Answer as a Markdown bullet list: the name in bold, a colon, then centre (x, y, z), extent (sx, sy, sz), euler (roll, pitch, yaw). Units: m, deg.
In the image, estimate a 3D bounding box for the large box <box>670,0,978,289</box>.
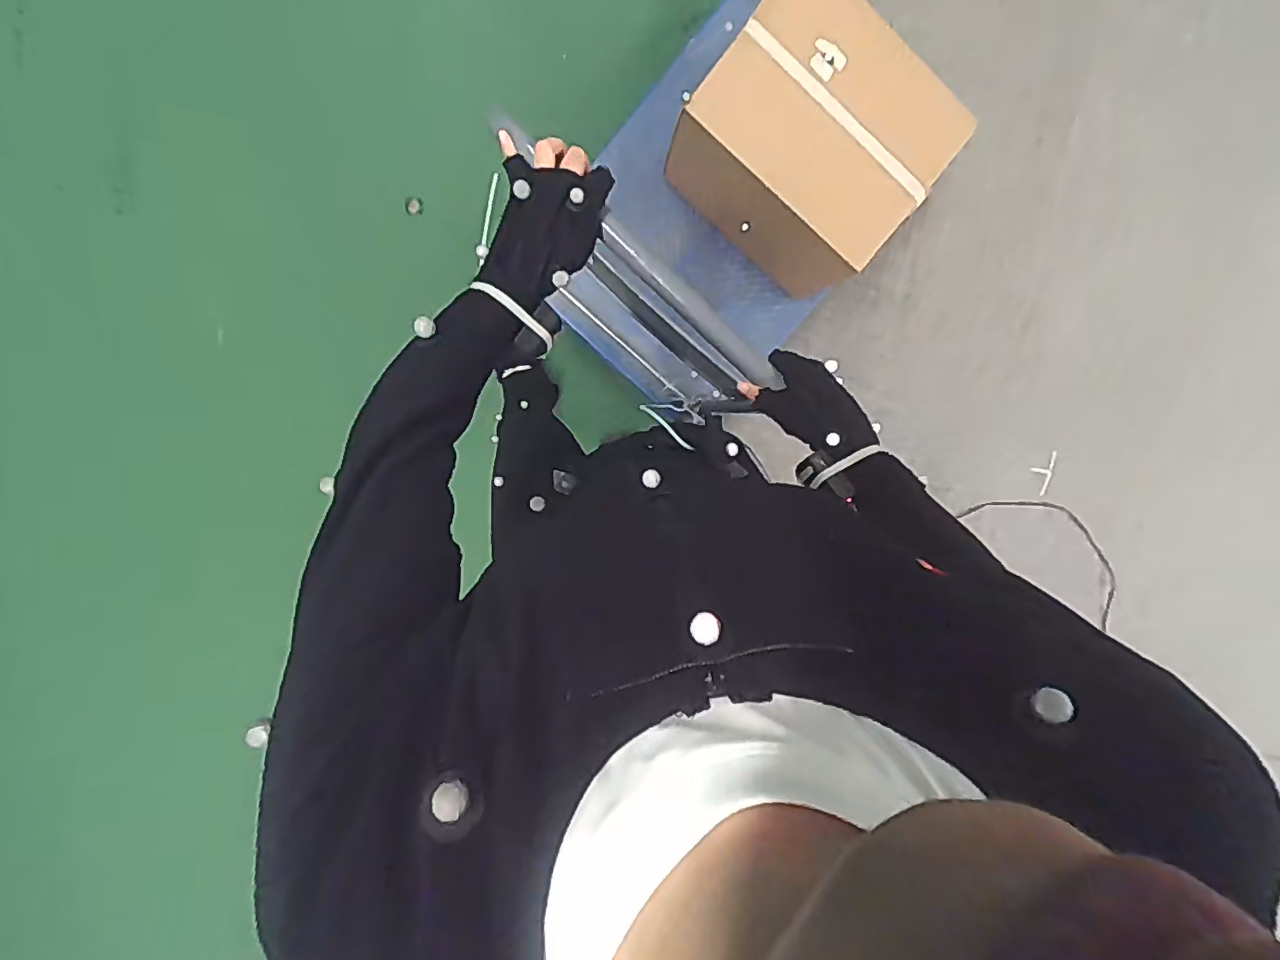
- **large box**: centre (0.316, -0.636, 1.040), extent (0.408, 0.320, 0.320), euler (38, 95, -8)
